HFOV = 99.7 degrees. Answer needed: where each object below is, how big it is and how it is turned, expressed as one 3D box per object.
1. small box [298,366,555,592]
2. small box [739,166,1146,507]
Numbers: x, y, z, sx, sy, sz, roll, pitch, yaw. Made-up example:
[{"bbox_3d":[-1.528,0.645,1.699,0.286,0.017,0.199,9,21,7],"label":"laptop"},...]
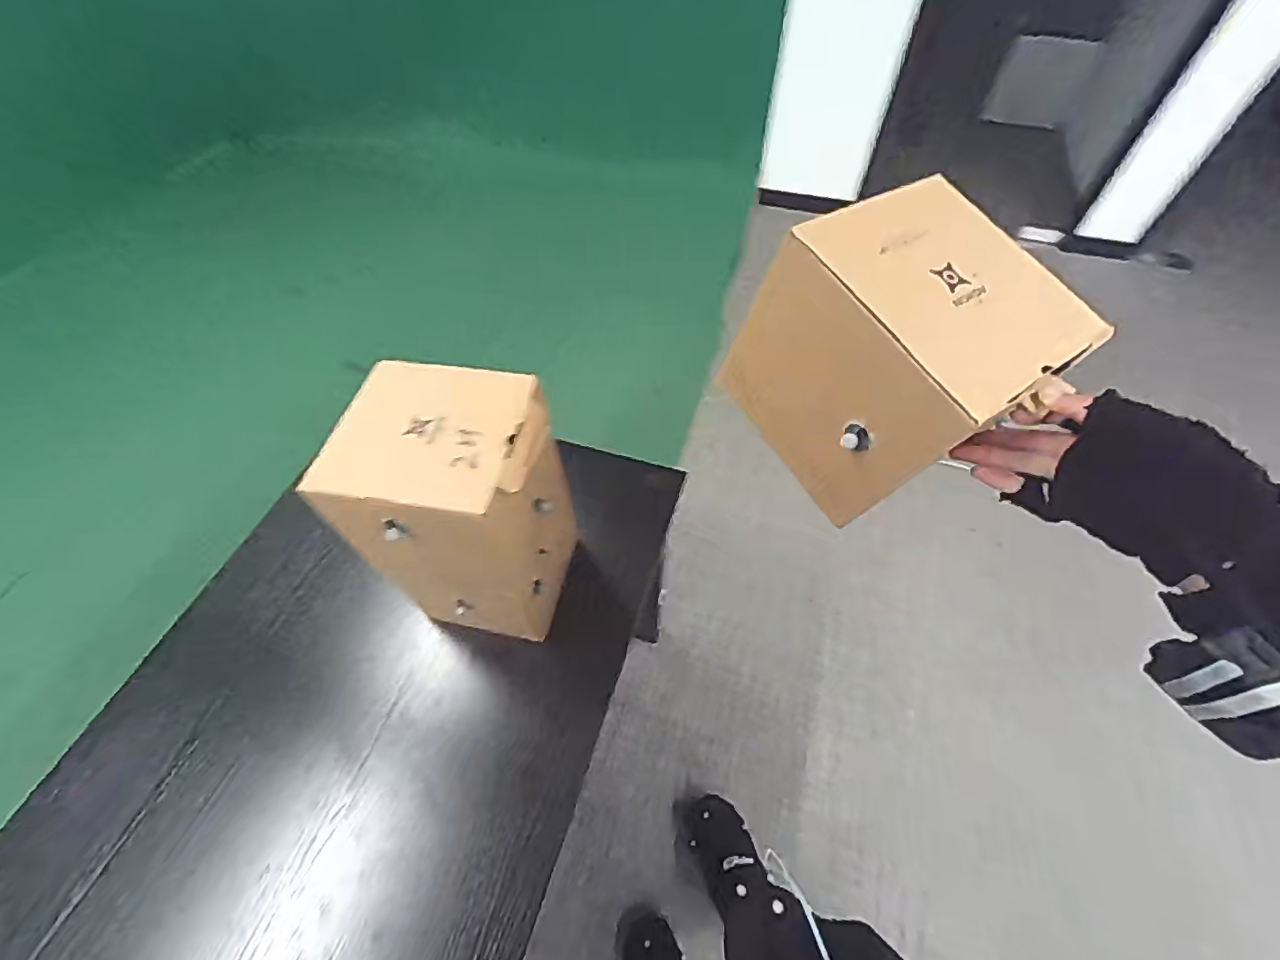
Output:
[{"bbox_3d":[-0.202,0.004,0.573,0.179,0.176,0.168,8,56,6],"label":"small box"},{"bbox_3d":[0.208,-0.098,0.422,0.168,0.176,0.179,-26,72,-22],"label":"small box"}]
